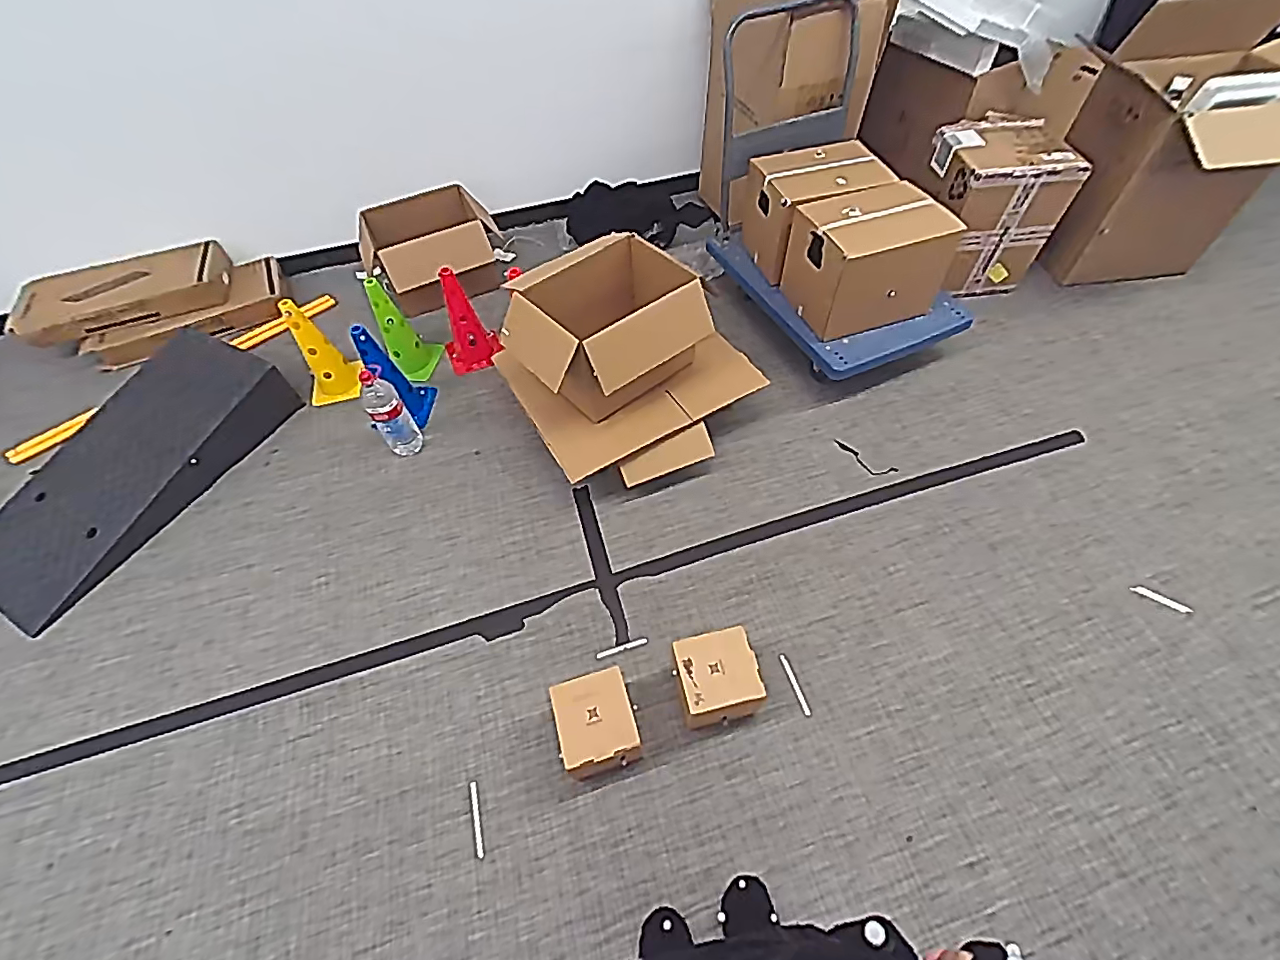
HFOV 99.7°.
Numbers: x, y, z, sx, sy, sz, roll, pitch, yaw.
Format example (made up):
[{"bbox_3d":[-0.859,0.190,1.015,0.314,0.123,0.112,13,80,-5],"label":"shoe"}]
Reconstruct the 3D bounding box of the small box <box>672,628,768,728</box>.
[{"bbox_3d":[0.180,0.470,1.276,0.179,0.176,0.168,-11,56,-6],"label":"small box"}]

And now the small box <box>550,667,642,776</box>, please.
[{"bbox_3d":[-0.095,0.554,1.229,0.168,0.176,0.179,-15,55,-9],"label":"small box"}]
